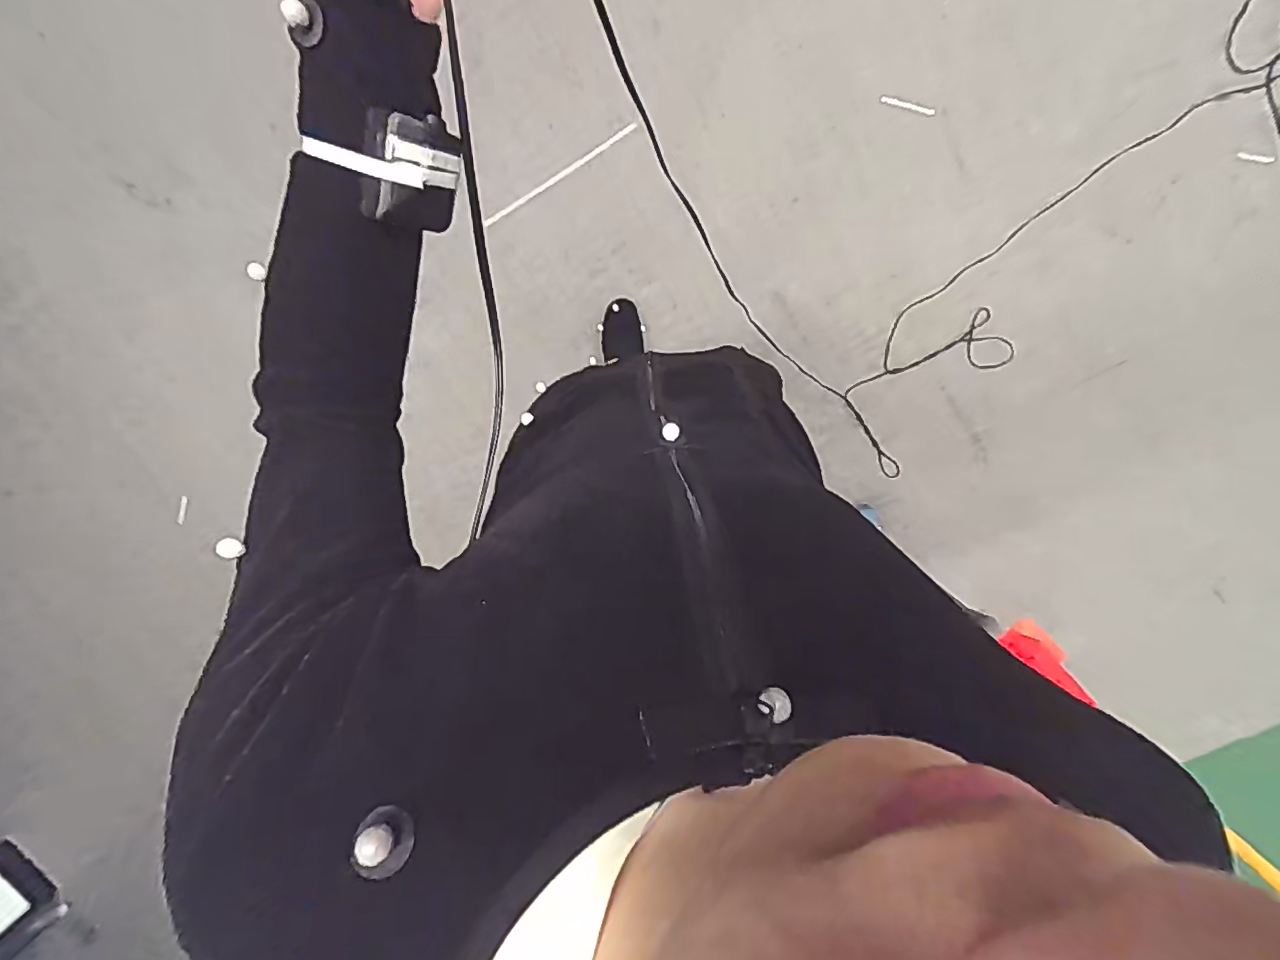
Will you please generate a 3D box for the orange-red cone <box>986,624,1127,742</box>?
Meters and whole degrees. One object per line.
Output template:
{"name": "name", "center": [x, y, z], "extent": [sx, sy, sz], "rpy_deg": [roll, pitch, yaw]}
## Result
{"name": "orange-red cone", "center": [1.202, 0.598, 1.518], "extent": [0.199, 0.360, 0.198], "rpy_deg": [-43, 98, 9]}
